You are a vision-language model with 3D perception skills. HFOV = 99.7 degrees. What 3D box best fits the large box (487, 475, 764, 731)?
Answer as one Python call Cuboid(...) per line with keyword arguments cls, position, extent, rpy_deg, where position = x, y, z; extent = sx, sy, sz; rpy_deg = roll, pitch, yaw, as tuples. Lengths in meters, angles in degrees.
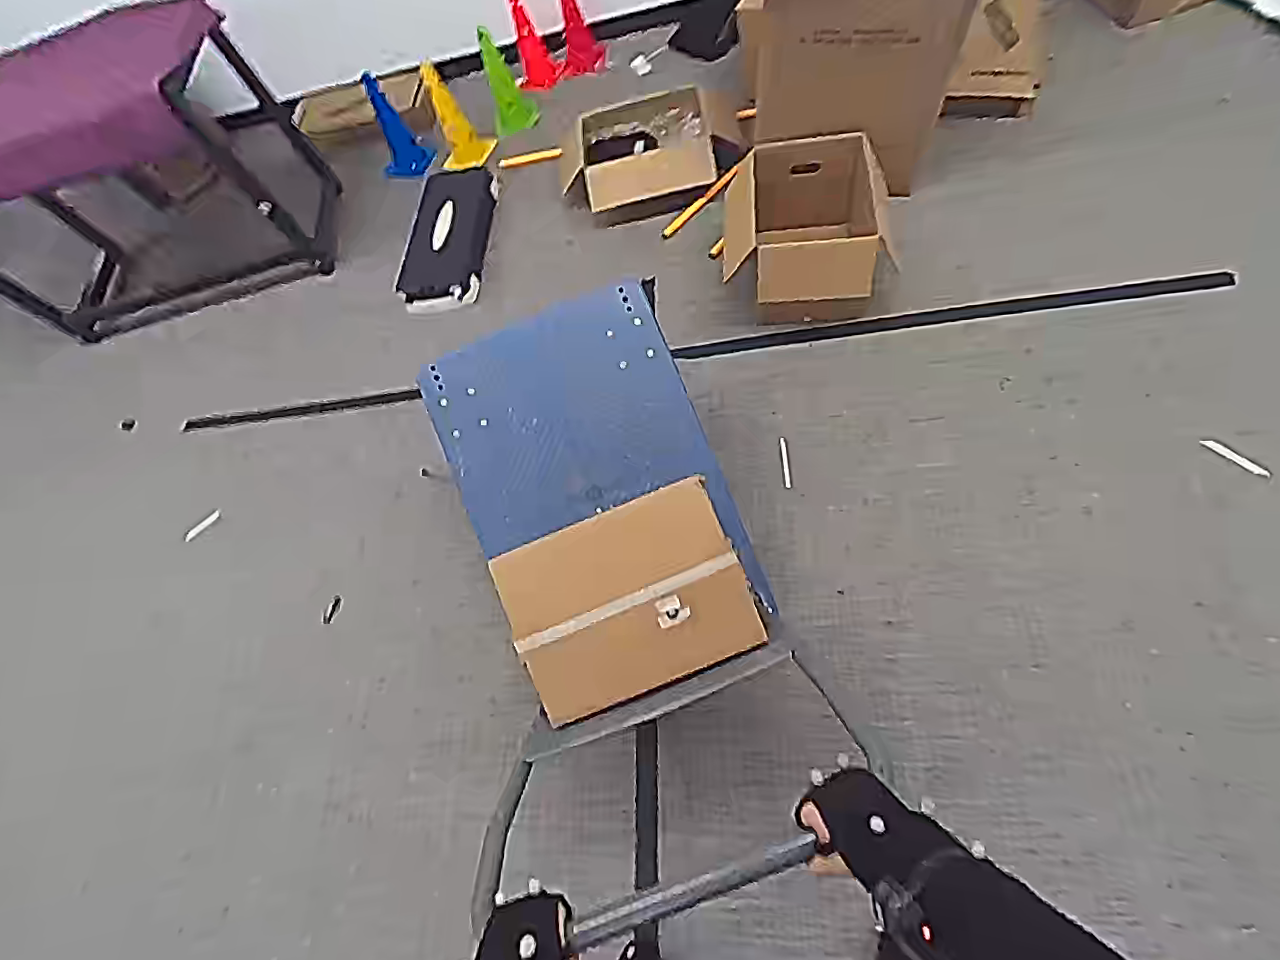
Cuboid(cls="large box", position=(-0.026, 0.220, 1.076), extent=(0.408, 0.320, 0.320), rpy_deg=(-24, 87, -1))
